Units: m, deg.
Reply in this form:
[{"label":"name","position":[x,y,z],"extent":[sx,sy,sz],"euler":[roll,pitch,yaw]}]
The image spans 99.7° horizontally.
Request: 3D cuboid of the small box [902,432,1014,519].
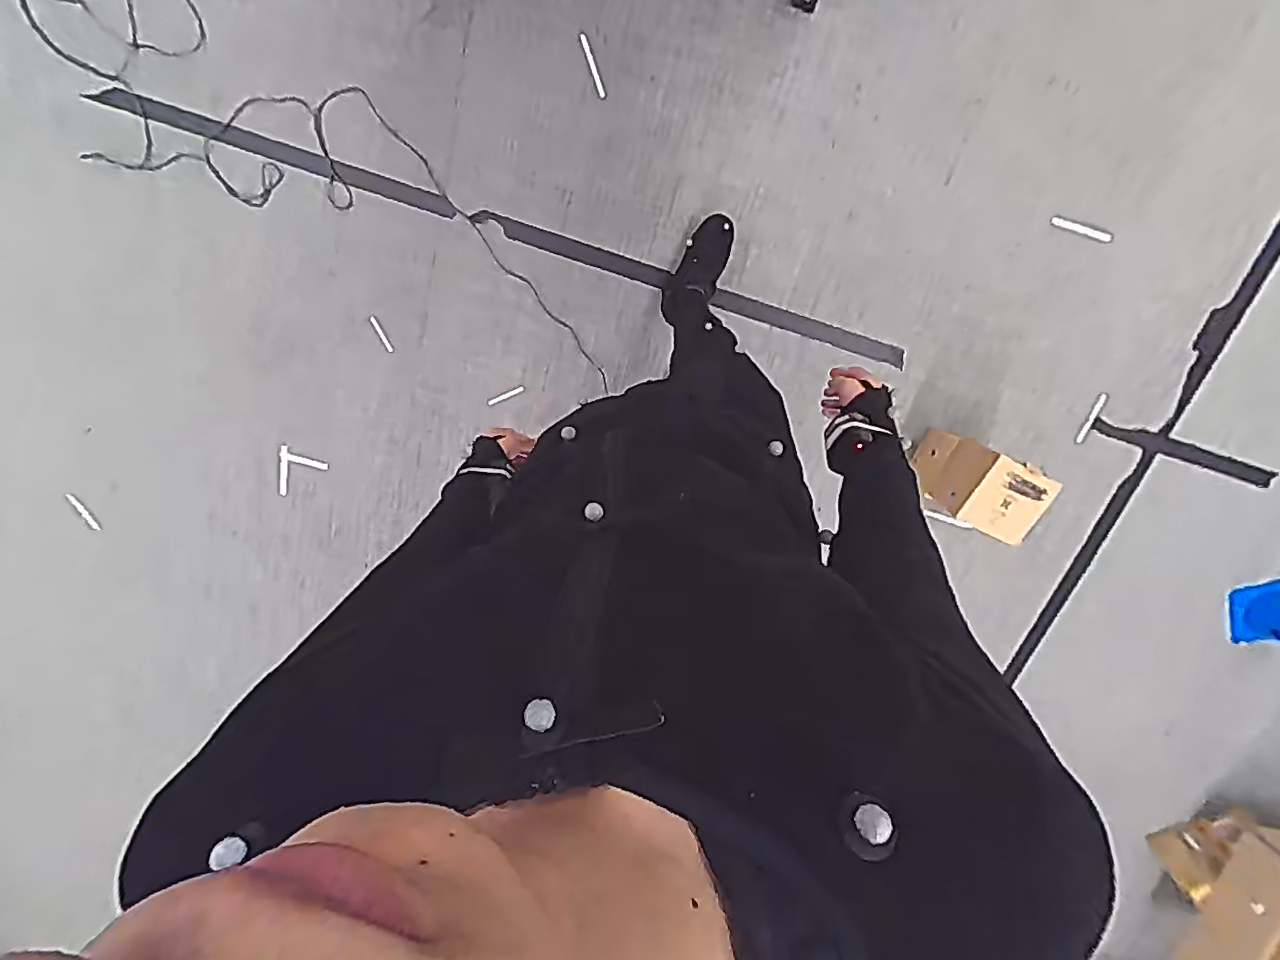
[{"label":"small box","position":[0.853,-0.021,1.474],"extent":[0.179,0.176,0.168],"euler":[21,109,-2]}]
